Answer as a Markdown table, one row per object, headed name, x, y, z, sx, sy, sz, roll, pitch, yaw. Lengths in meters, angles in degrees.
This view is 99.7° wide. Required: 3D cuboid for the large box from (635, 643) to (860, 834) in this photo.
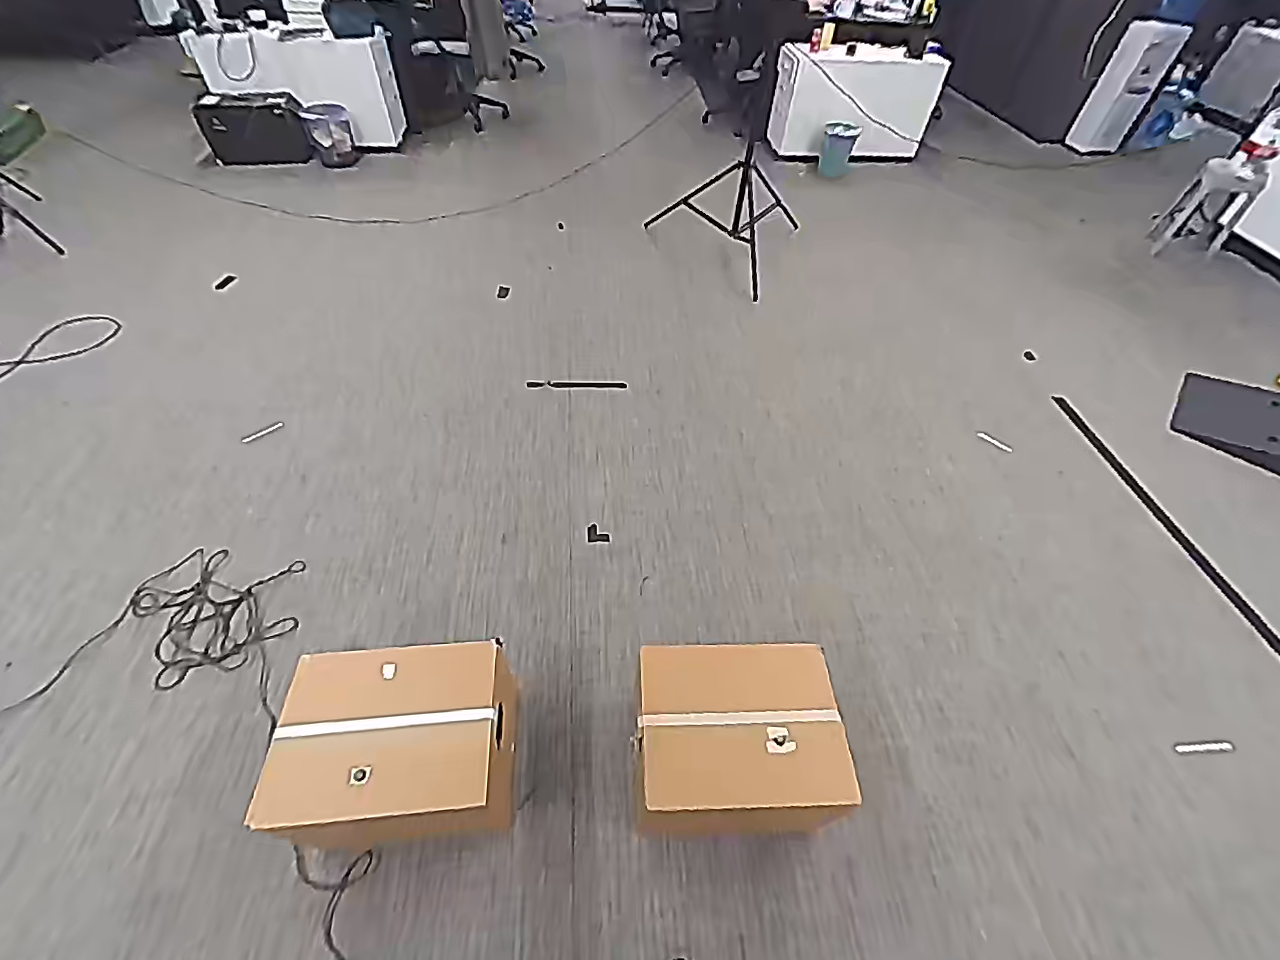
| name | x | y | z | sx | sy | sz | roll | pitch | yaw |
| --- | --- | --- | --- | --- | --- | --- | --- | --- | --- |
| large box | 0.201 | 0.577 | 1.206 | 0.408 | 0.320 | 0.320 | 1 | 50 | -4 |
